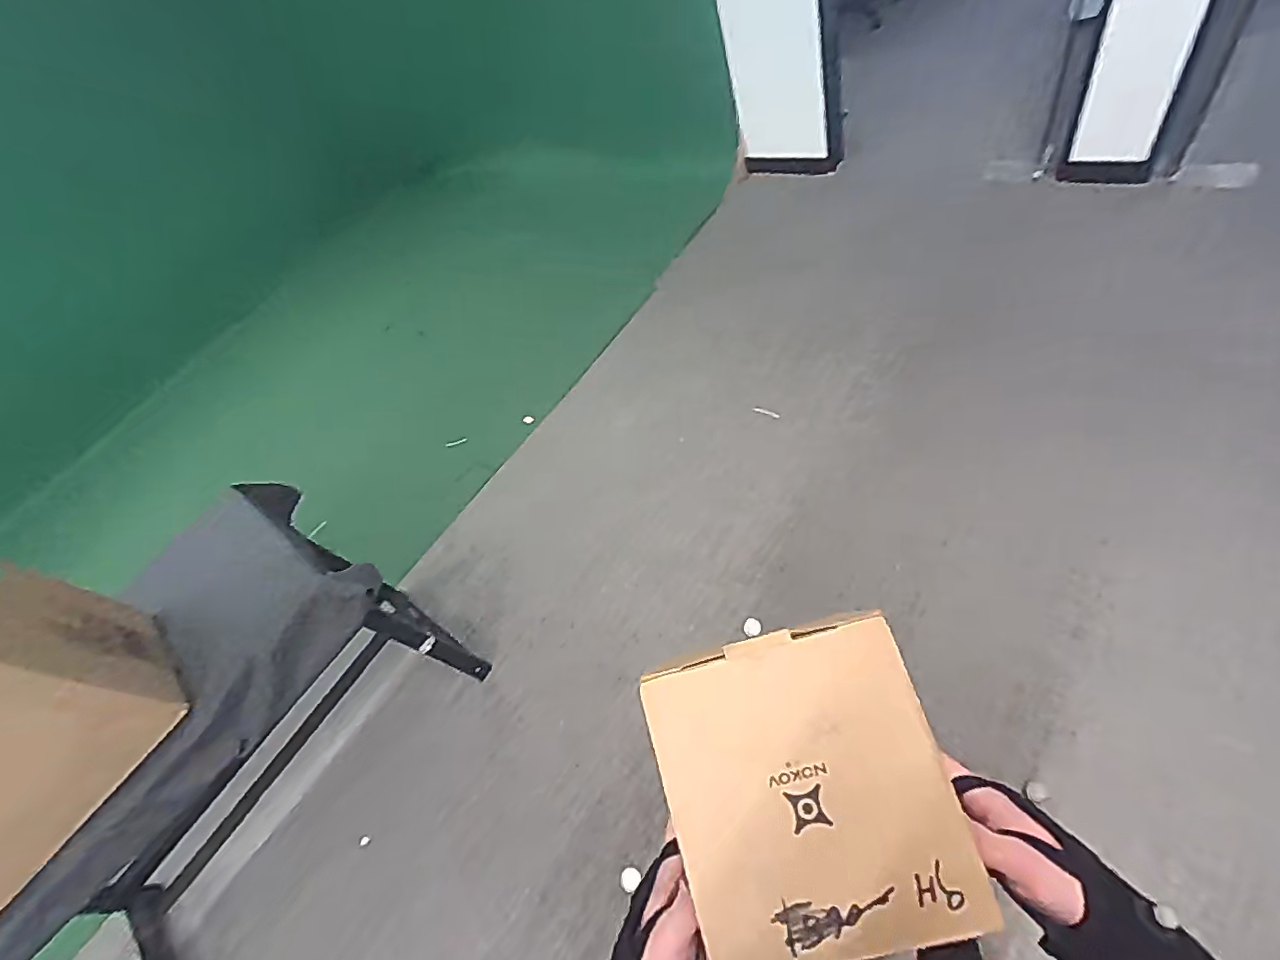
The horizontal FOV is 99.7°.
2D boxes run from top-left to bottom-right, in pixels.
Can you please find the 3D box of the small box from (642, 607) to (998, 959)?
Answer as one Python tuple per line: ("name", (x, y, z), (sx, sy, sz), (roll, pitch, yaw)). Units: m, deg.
("small box", (0.113, 0.204, 0.404), (0.168, 0.176, 0.179), (-18, 74, 7))
